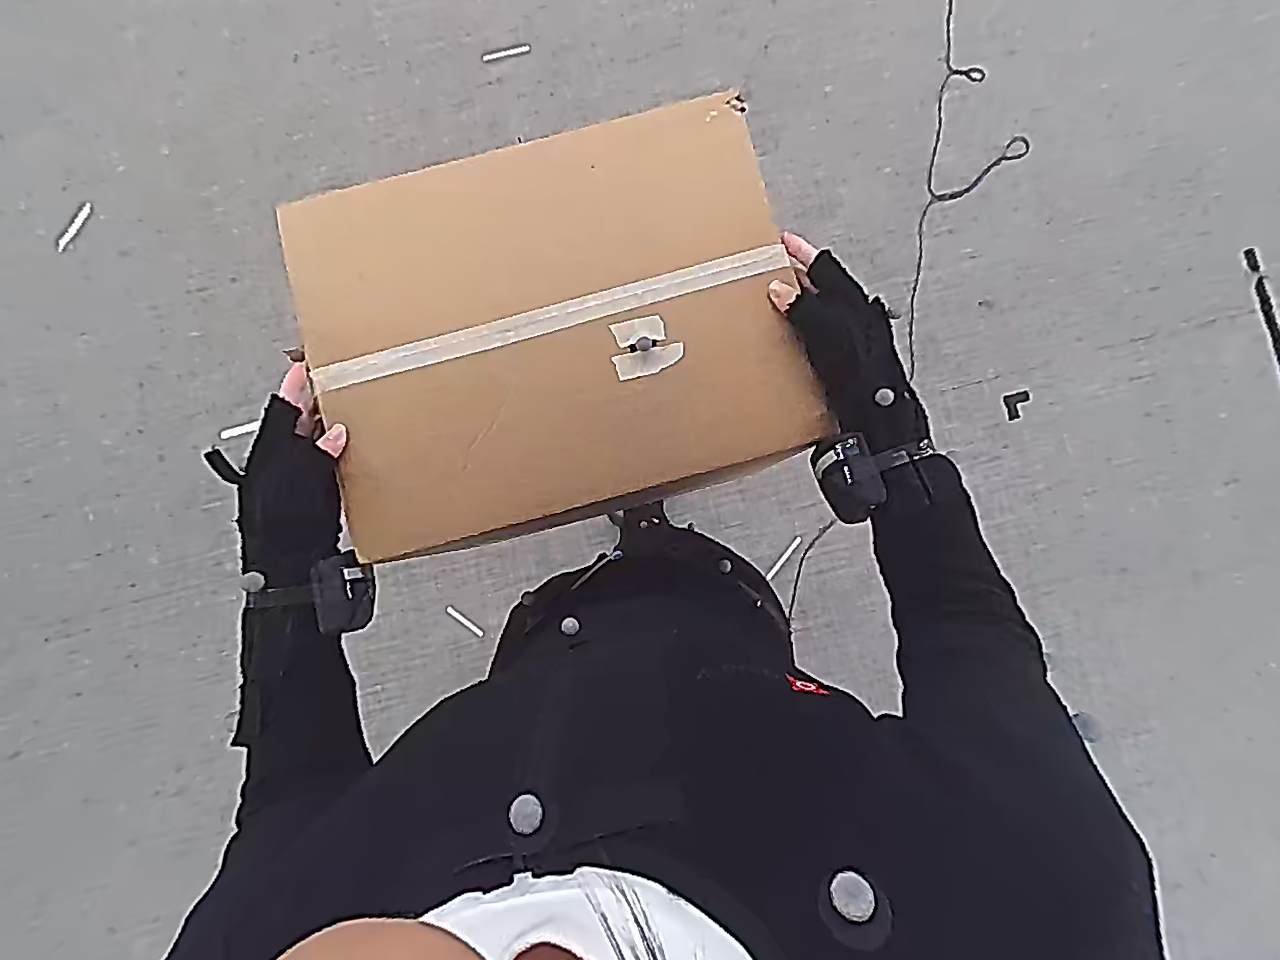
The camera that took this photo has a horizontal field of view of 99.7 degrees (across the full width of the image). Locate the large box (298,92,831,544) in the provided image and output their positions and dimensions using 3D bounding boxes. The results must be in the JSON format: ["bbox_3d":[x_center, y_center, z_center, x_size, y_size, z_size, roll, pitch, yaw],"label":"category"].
[{"bbox_3d":[-0.070,-0.133,0.610,0.408,0.320,0.320,-16,86,-2],"label":"large box"}]
